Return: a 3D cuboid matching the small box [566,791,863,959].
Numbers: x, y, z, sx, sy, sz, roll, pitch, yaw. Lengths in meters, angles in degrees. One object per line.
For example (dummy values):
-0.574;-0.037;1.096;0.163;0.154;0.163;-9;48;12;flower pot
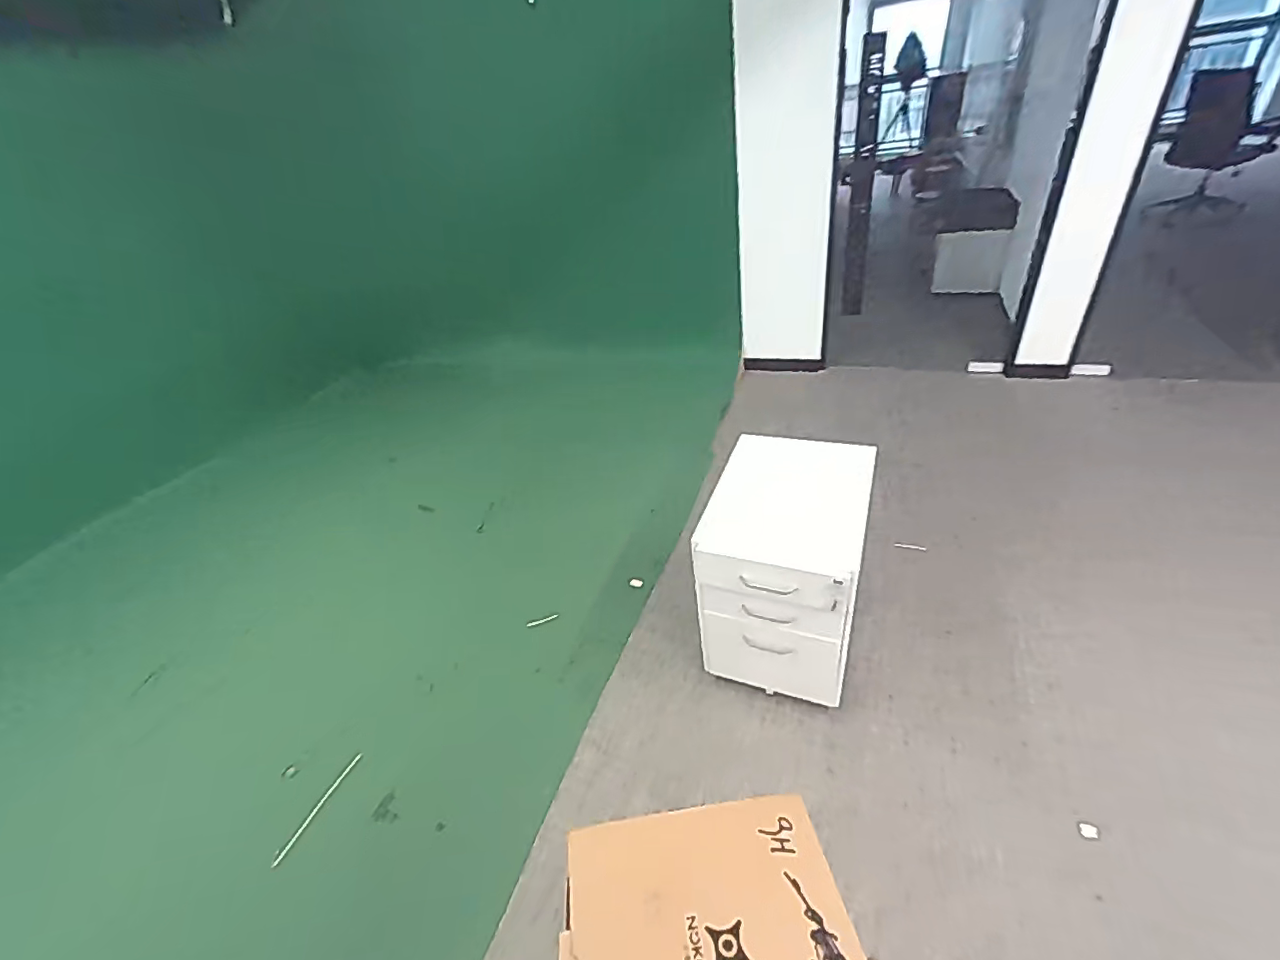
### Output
0.047;0.350;0.366;0.179;0.176;0.168;-5;28;-5;small box
